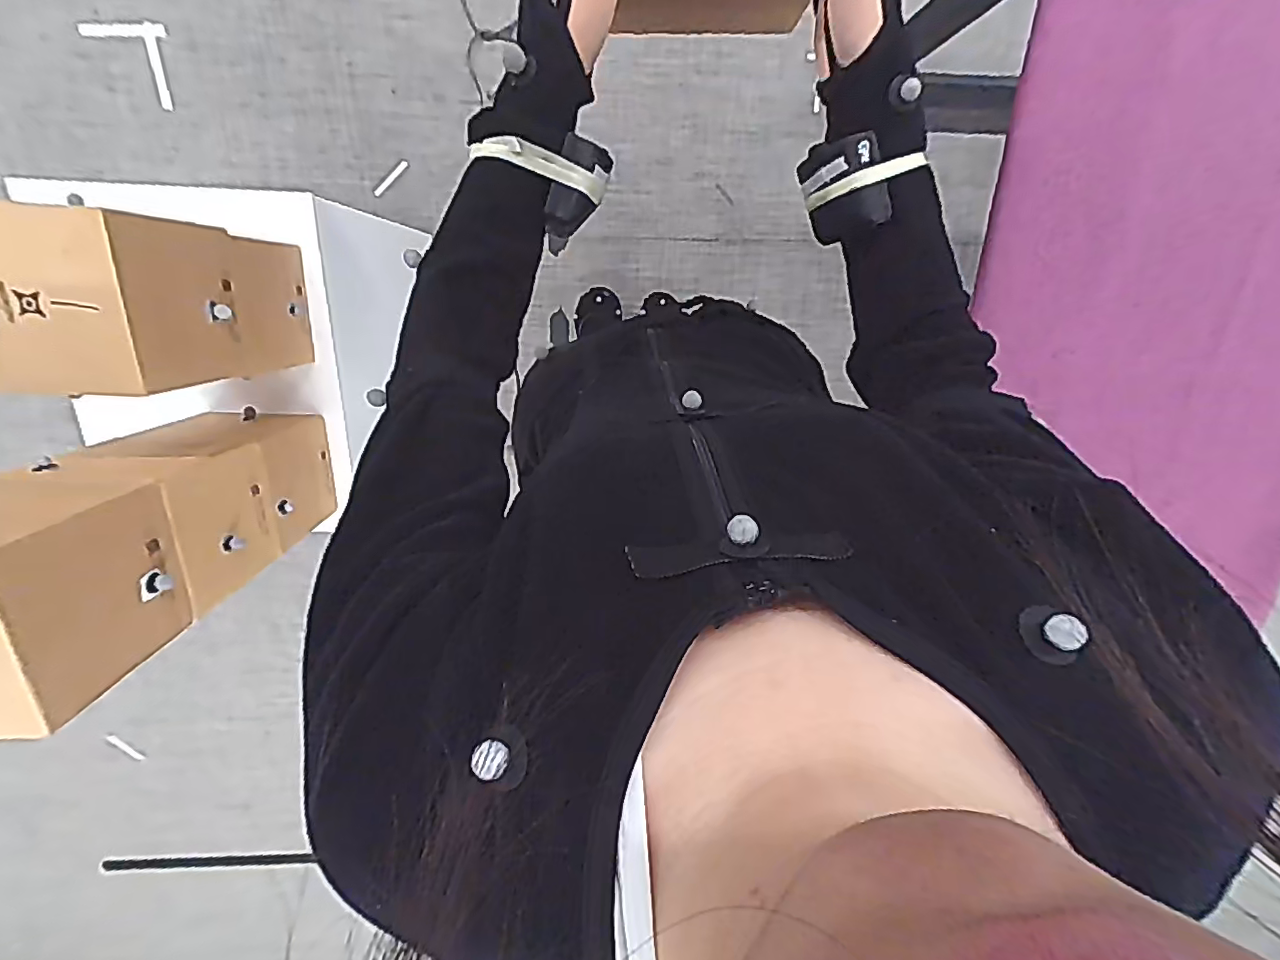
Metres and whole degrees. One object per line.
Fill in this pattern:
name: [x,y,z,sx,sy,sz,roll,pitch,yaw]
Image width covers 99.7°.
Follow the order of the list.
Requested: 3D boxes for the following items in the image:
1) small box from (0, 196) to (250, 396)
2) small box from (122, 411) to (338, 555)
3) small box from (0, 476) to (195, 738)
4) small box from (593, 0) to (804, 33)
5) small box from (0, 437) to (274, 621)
small box: [-0.547,-0.185,0.550,0.179,0.176,0.168,2,109,-5]
small box: [-0.575,-0.003,0.786,0.179,0.176,0.168,1,108,-3]
small box: [-0.557,0.100,0.477,0.179,0.176,0.168,-1,110,-4]
small box: [0.050,-0.436,0.363,0.179,0.176,0.168,0,109,-1]
small box: [-0.564,0.049,0.631,0.179,0.176,0.168,0,109,-3]
